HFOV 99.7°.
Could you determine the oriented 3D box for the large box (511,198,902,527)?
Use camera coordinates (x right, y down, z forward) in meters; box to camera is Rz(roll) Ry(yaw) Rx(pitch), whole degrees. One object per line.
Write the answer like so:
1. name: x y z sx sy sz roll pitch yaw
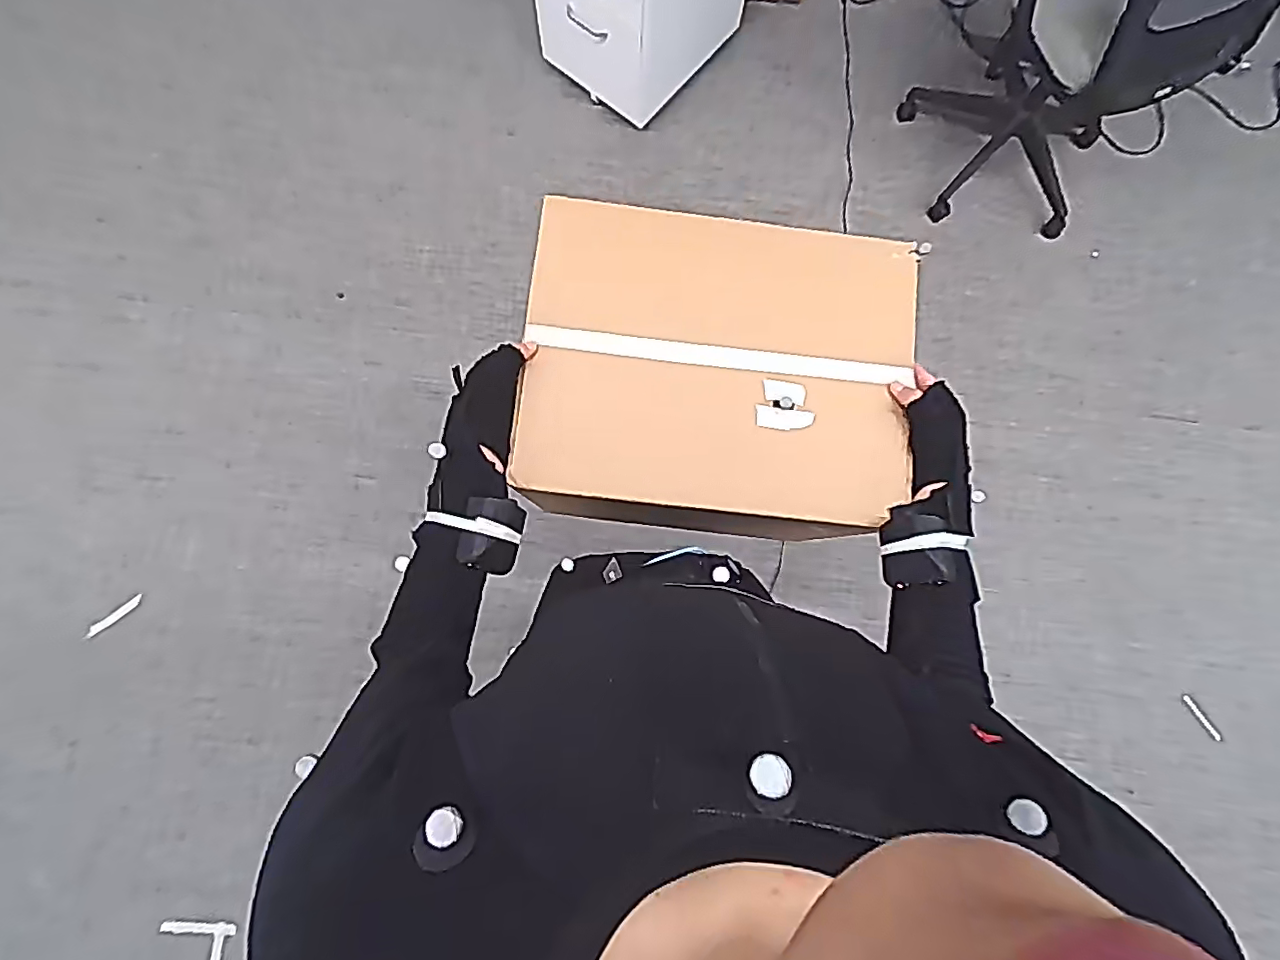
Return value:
1. large box: 0.069 -0.115 0.717 0.408 0.320 0.320 7 83 -3
